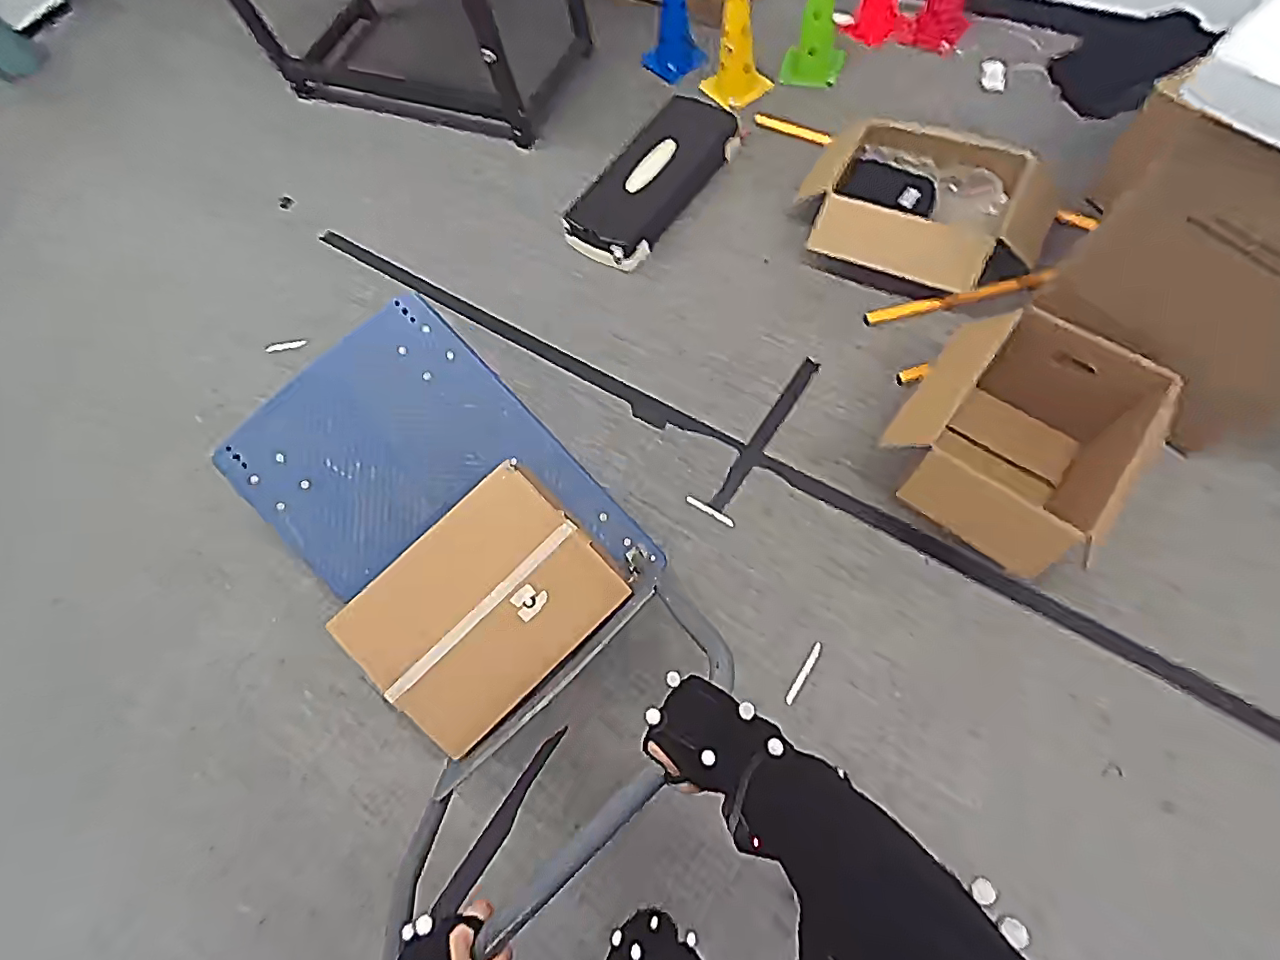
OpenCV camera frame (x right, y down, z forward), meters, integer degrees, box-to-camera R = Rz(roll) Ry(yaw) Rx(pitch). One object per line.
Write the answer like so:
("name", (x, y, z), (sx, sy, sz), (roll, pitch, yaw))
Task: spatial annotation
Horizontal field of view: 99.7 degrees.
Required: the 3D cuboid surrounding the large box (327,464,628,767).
("large box", (-0.275, 0.229, 1.033), (0.408, 0.320, 0.320), (-44, 91, -6))
